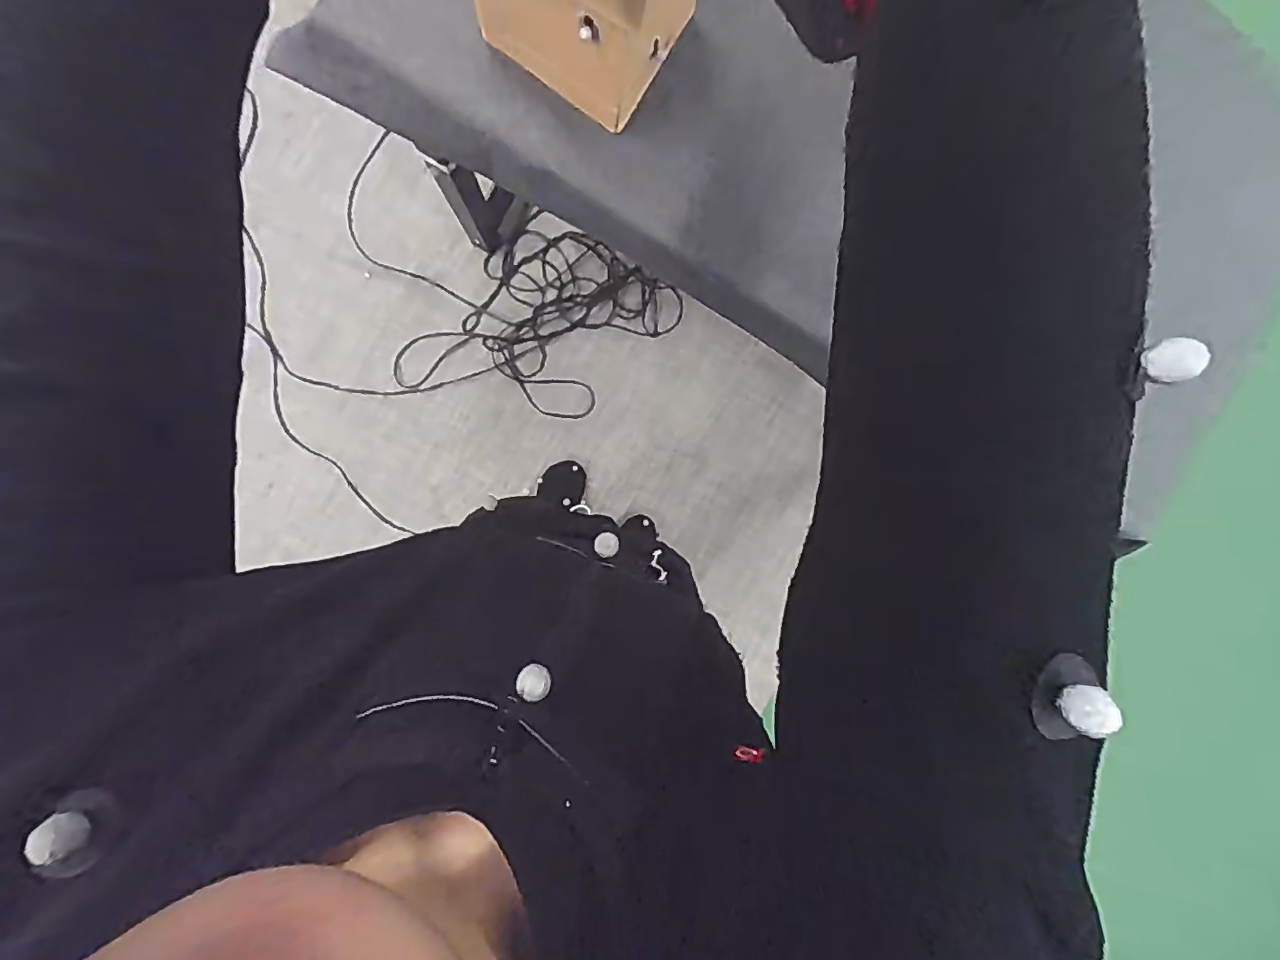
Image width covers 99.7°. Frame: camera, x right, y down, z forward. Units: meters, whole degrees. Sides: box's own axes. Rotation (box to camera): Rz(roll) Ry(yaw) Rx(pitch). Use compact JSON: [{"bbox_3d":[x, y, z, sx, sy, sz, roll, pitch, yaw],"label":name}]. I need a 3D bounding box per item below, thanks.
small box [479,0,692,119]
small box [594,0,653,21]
[{"bbox_3d":[-0.047,-0.496,0.512,0.179,0.176,0.168,31,91,-10],"label":"small box"},{"bbox_3d":[-0.024,-0.472,0.353,0.168,0.176,0.179,26,91,-11],"label":"small box"}]
